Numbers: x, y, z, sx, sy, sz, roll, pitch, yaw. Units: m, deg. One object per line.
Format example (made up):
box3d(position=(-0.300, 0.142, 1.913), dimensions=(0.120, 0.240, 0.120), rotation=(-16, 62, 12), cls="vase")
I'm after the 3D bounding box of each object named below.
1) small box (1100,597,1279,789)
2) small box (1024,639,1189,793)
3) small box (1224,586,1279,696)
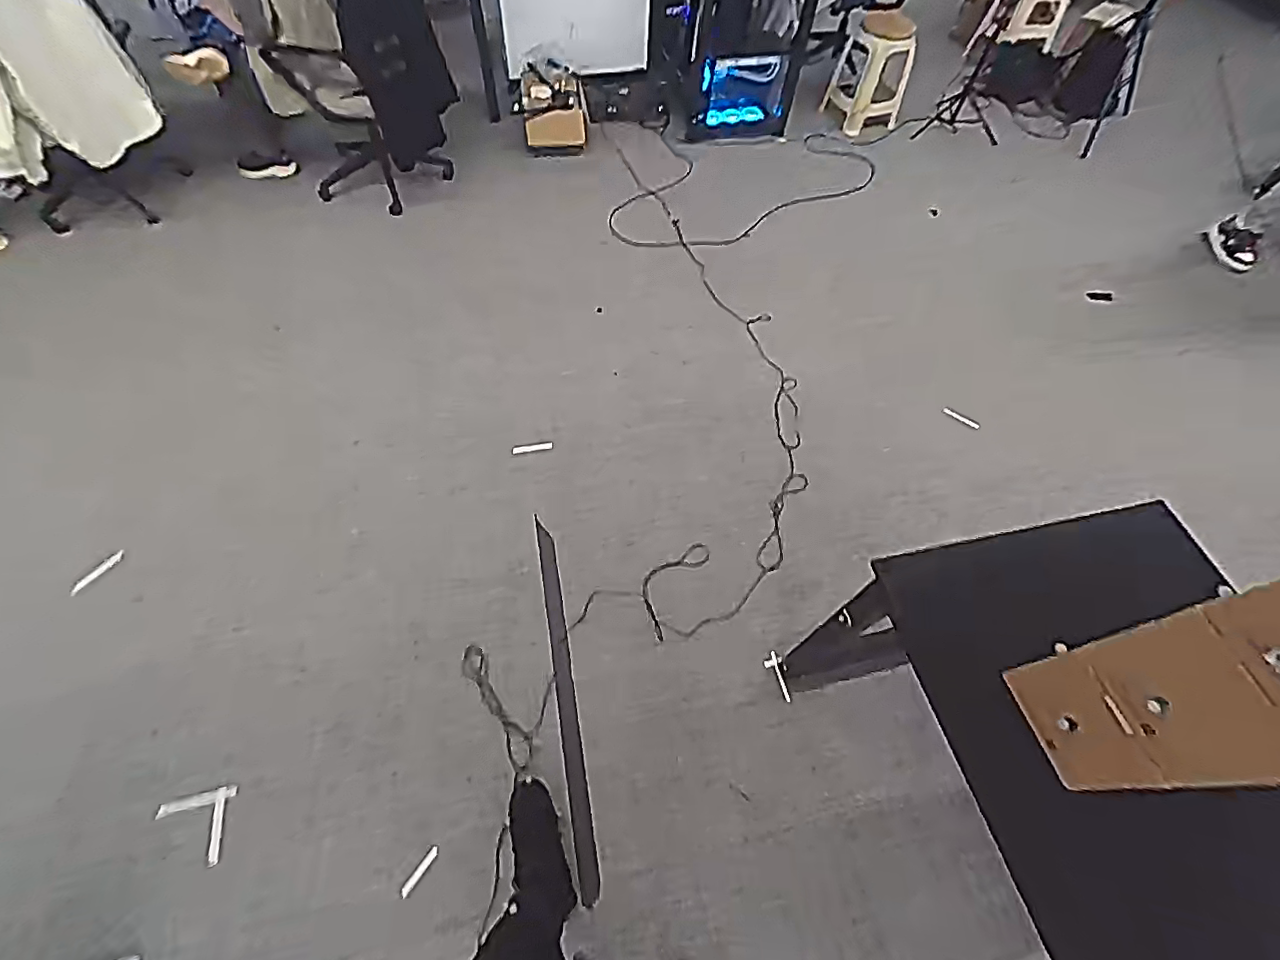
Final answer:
box3d(position=(0.683, 0.228, 0.597), dimensions=(0.179, 0.176, 0.168), rotation=(-11, 59, -9), cls="small box")
box3d(position=(0.675, 0.314, 0.737), dimensions=(0.179, 0.176, 0.168), rotation=(-12, 60, -9), cls="small box")
box3d(position=(0.690, 0.143, 0.458), dimensions=(0.179, 0.176, 0.168), rotation=(-11, 58, -9), cls="small box")
